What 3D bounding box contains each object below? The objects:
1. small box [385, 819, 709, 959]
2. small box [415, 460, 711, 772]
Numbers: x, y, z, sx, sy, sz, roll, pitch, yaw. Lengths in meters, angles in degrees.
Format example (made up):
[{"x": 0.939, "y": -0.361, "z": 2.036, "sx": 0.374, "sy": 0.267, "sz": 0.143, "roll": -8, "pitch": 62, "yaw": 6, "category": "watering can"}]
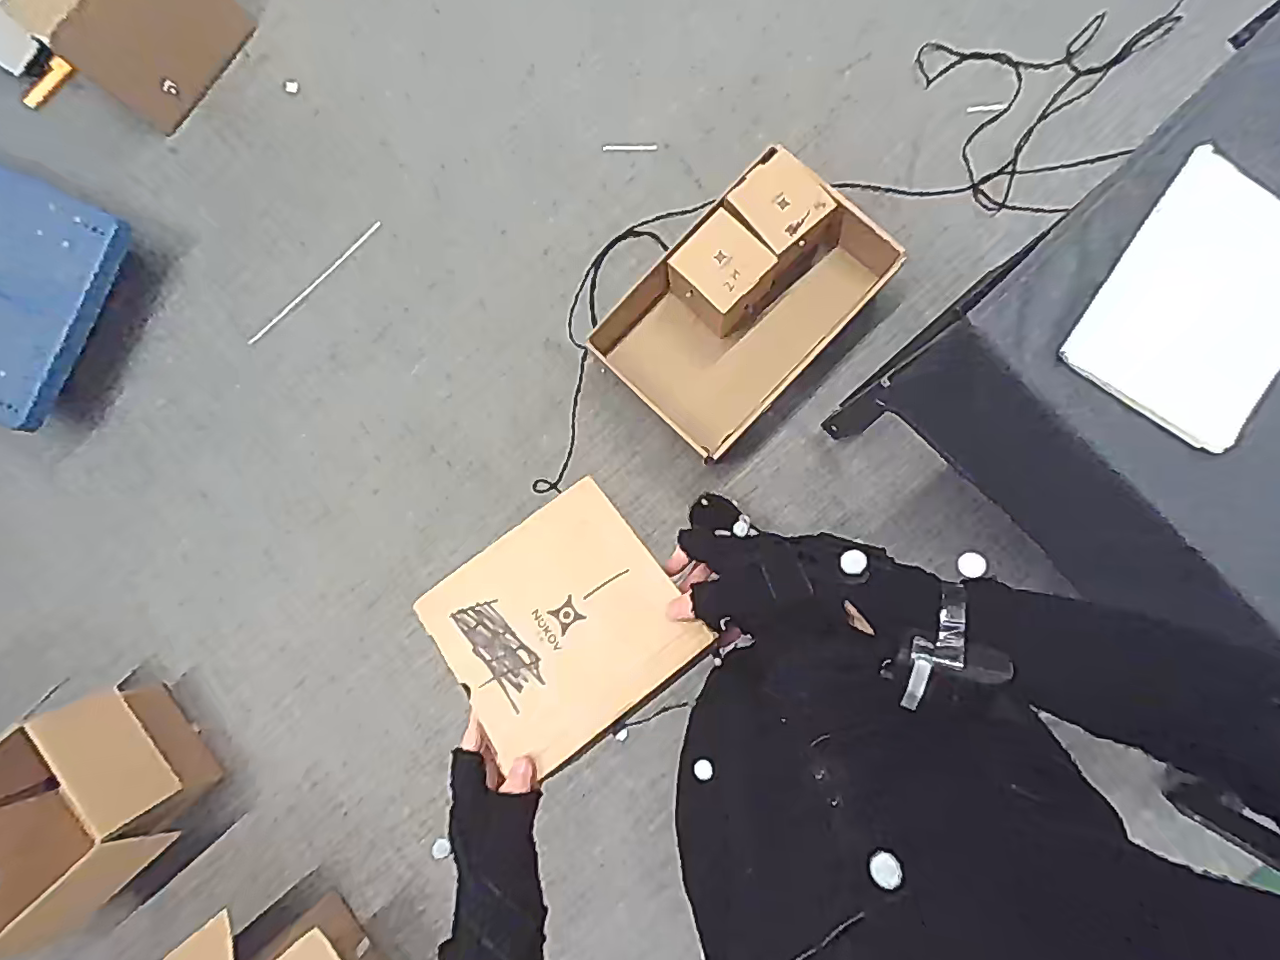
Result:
[{"x": -0.063, "y": 0.359, "z": 0.347, "sx": 0.168, "sy": 0.179, "sz": 0.176, "roll": 29, "pitch": 114, "yaw": -29, "category": "small box"}, {"x": -0.052, "y": 0.120, "z": 0.475, "sx": 0.179, "sy": 0.176, "sz": 0.168, "roll": -36, "pitch": 70, "yaw": -8, "category": "small box"}]
